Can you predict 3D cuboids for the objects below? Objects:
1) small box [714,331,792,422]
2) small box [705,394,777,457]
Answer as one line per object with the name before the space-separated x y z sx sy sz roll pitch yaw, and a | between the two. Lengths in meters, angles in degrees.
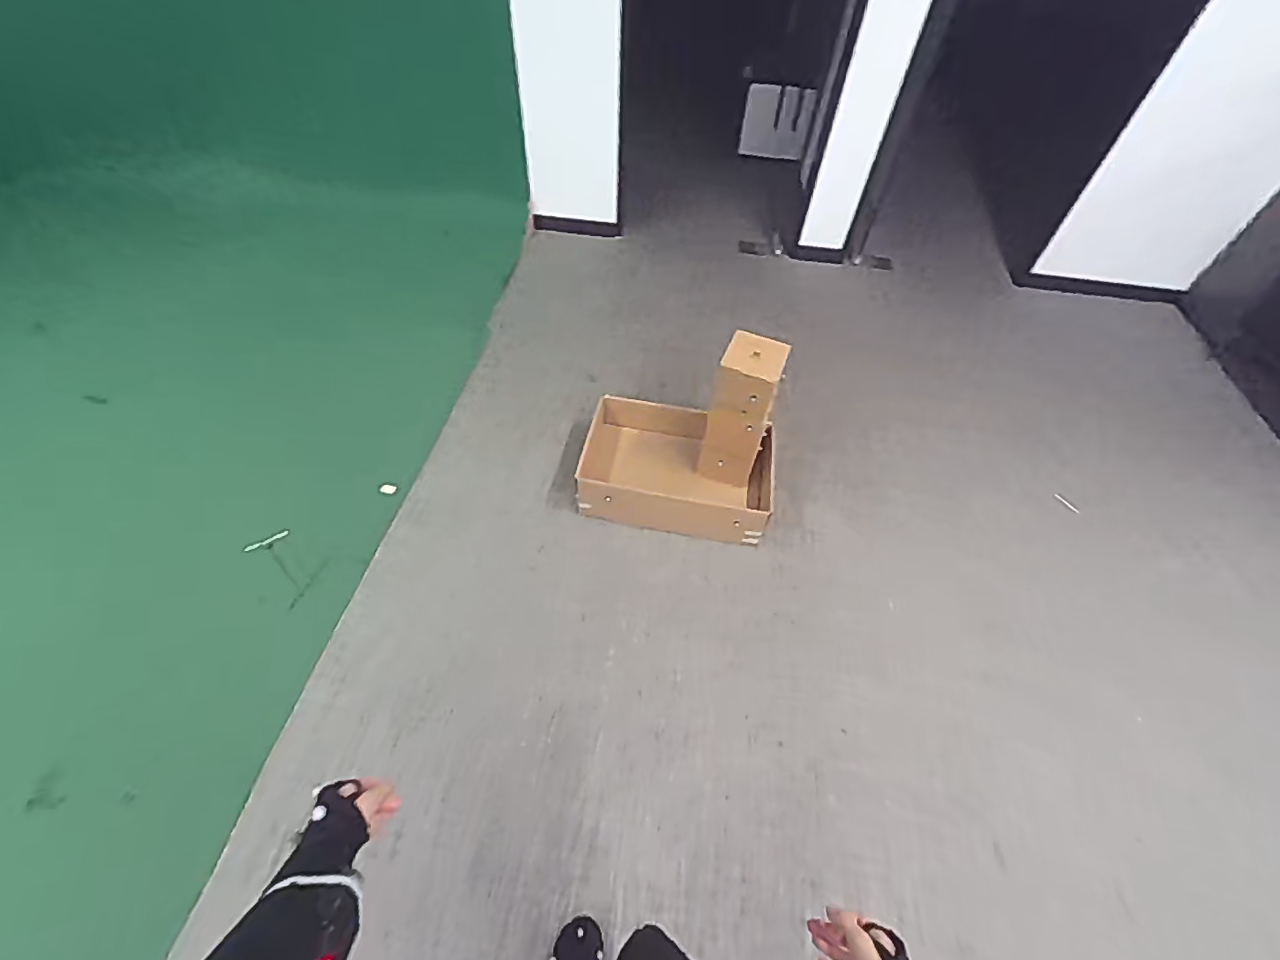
small box | 0.324 -0.299 1.576 0.168 0.176 0.179 21 54 11
small box | 0.315 -0.198 1.704 0.179 0.176 0.168 19 54 11
